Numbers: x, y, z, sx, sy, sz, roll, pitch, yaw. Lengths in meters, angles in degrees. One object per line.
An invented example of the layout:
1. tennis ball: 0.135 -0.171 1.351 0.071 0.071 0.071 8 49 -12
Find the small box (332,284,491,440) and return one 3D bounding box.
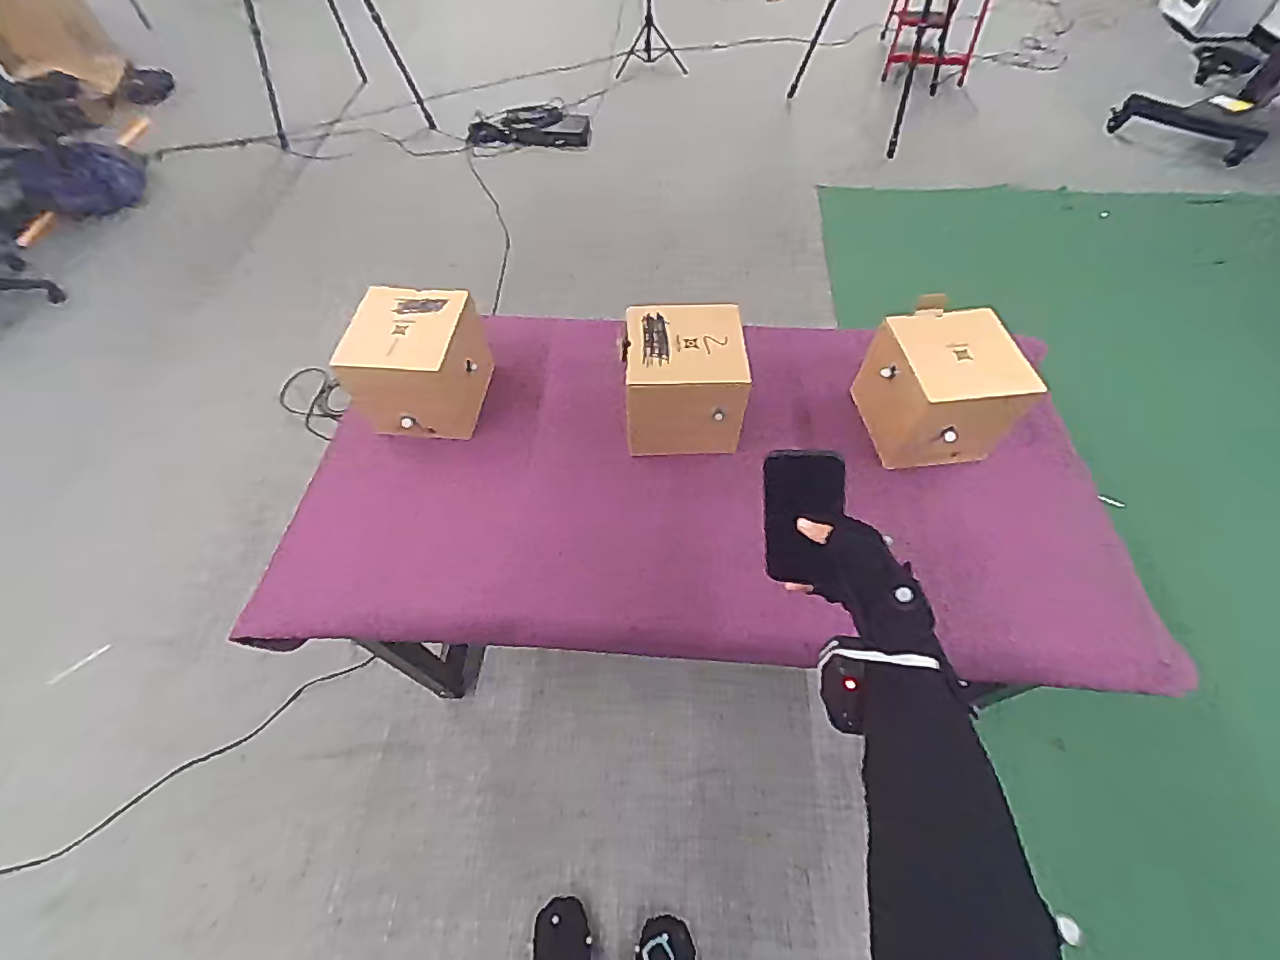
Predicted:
1. small box: -0.353 -0.189 0.880 0.168 0.176 0.179 4 59 4

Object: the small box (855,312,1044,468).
1. small box: 0.458 -0.130 0.835 0.168 0.176 0.179 -6 56 -2
